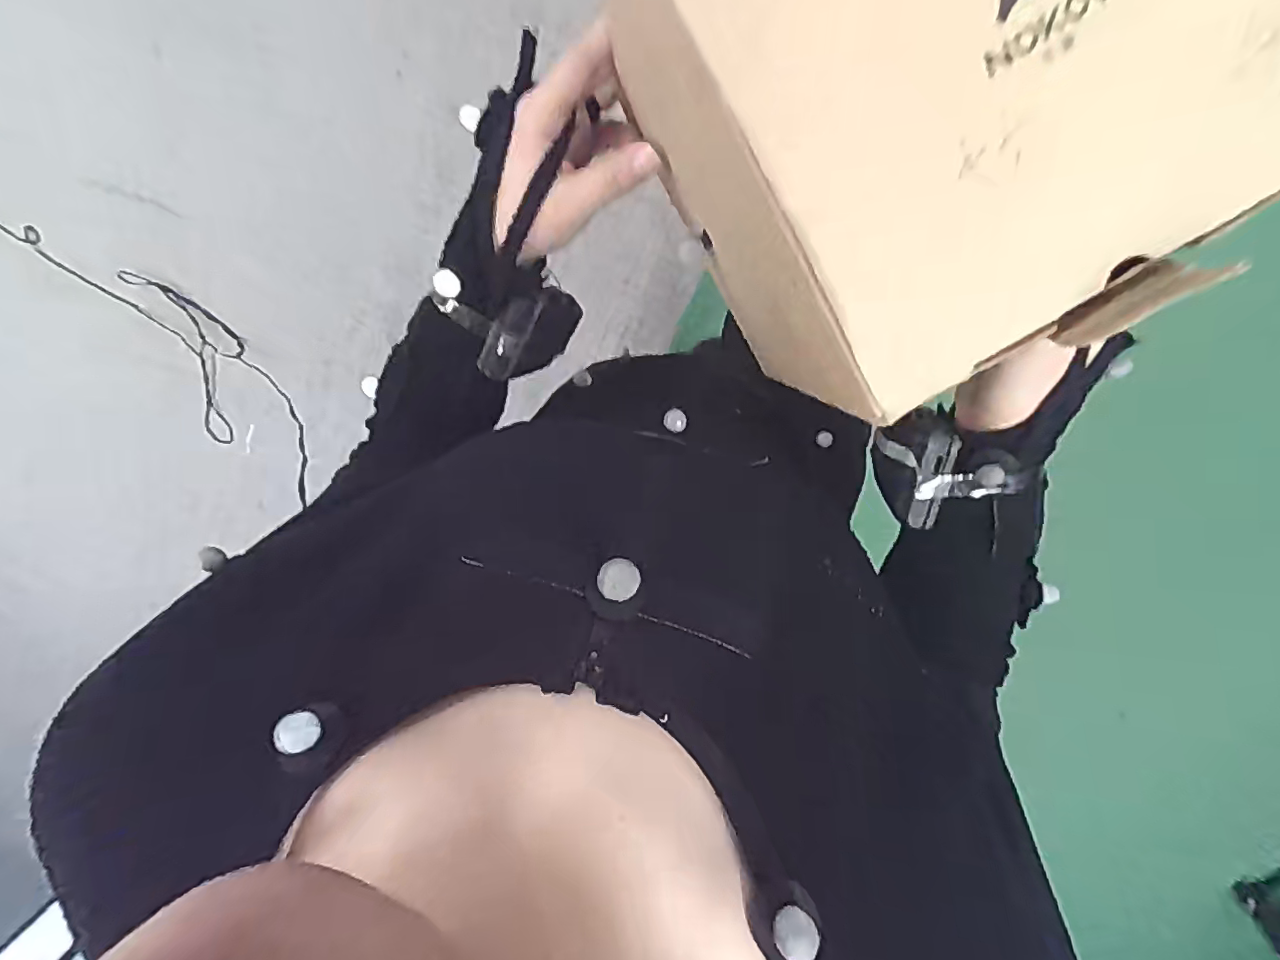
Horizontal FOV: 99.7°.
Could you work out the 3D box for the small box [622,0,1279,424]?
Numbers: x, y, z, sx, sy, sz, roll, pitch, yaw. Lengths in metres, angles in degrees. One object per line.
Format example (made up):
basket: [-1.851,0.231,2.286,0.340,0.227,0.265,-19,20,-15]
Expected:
small box: [0.106,-0.152,0.231,0.168,0.176,0.179,-30,105,9]
